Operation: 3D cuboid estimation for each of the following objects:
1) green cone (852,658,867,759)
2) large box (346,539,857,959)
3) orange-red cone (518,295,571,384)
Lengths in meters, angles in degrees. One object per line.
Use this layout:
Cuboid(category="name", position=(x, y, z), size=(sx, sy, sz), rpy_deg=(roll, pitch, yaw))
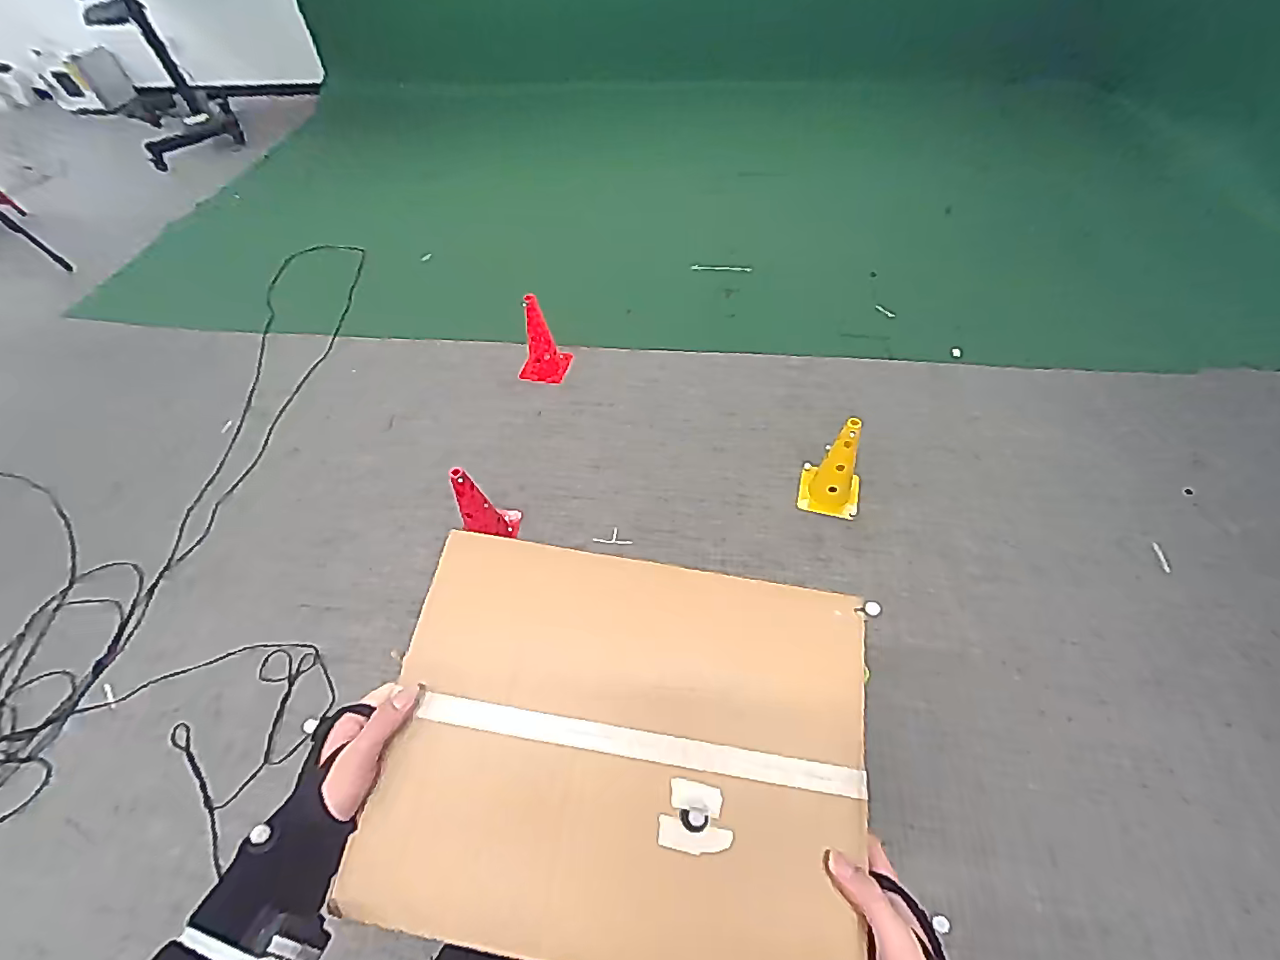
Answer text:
Cuboid(category="green cone", position=(0.497, 0.532, 1.343), size=(0.200, 0.368, 0.202), rpy_deg=(9, 53, 10))
Cuboid(category="large box", position=(-0.016, 0.284, 0.606), size=(0.408, 0.320, 0.320), rpy_deg=(9, 66, 3))
Cuboid(category="orange-red cone", position=(-0.430, -0.603, 2.249), size=(0.199, 0.360, 0.198), rpy_deg=(10, 53, 12))
